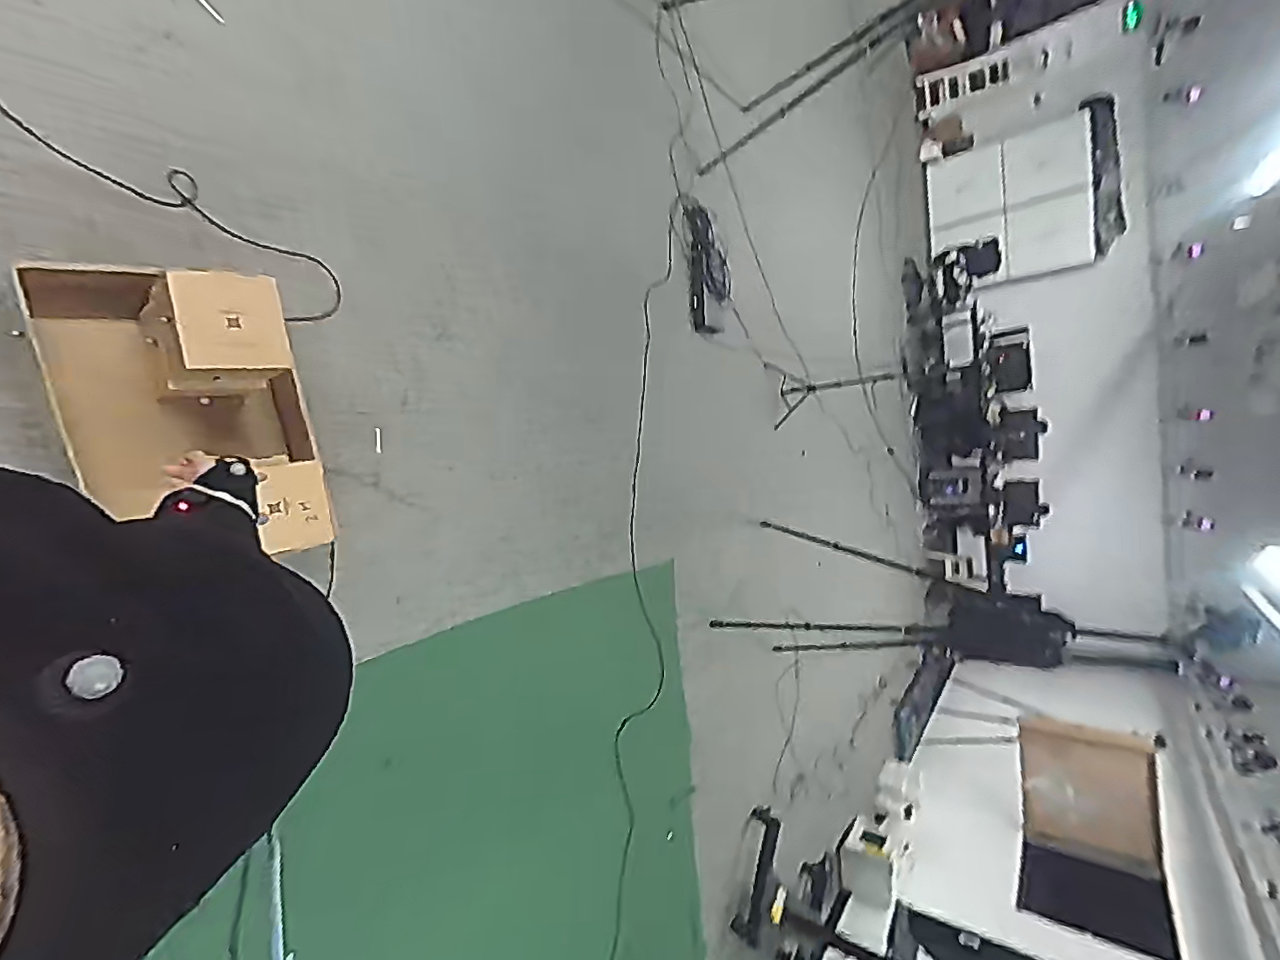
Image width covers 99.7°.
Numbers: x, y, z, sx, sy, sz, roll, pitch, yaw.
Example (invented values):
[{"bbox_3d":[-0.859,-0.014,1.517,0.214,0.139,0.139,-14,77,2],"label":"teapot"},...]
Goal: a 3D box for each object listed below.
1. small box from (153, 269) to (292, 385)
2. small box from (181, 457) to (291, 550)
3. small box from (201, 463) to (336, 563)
[{"bbox_3d":[-0.798,-0.282,1.032,0.168,0.176,0.179,-14,99,-48],"label":"small box"},{"bbox_3d":[-0.870,0.052,1.181,0.168,0.176,0.179,-14,98,-49],"label":"small box"},{"bbox_3d":[-0.743,0.061,1.075,0.179,0.176,0.168,-15,100,-50],"label":"small box"}]
